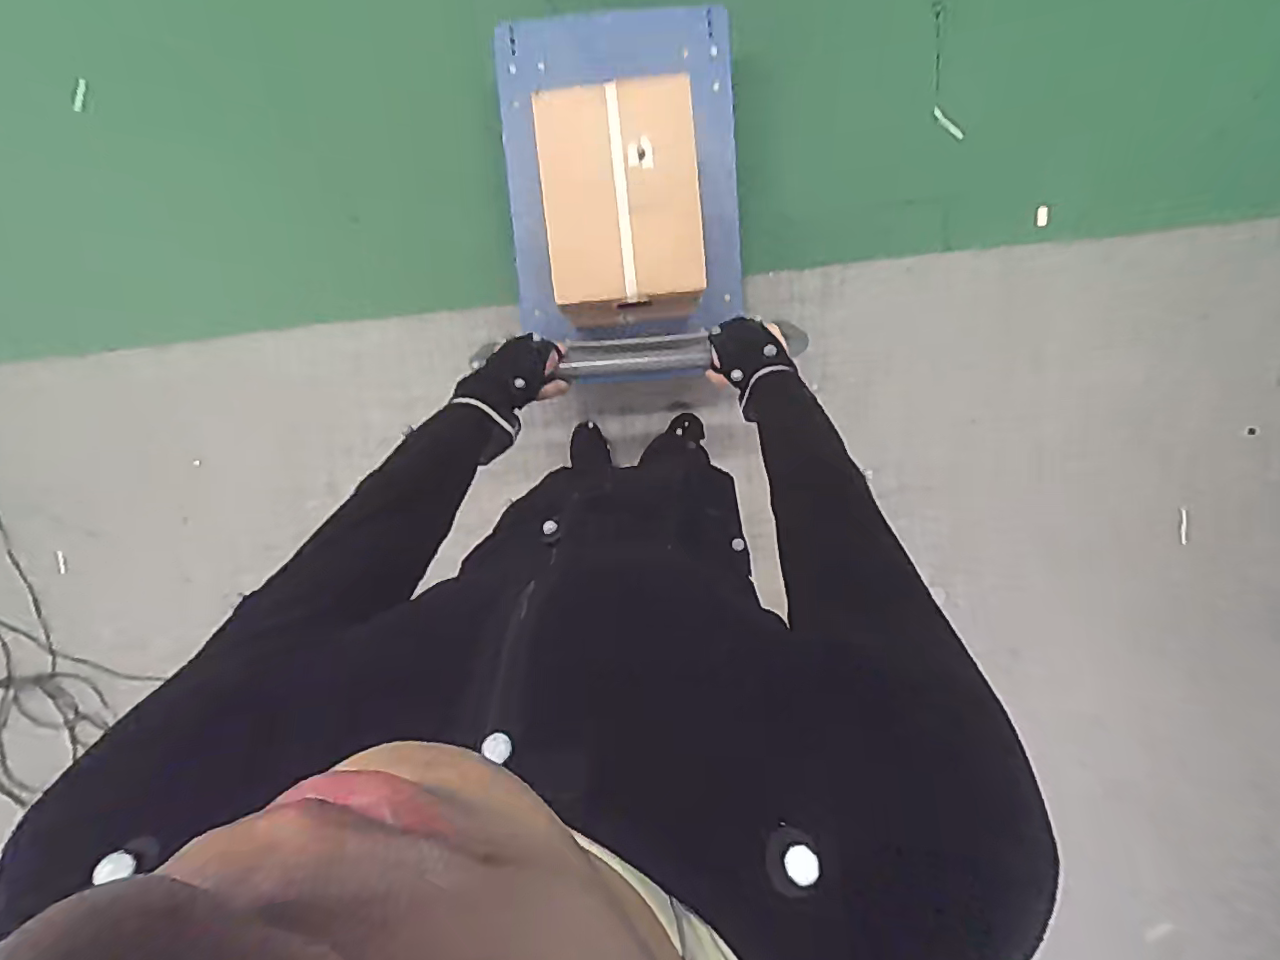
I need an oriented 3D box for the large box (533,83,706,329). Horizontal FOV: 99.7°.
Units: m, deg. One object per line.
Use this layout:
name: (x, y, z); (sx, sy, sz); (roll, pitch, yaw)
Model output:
large box: (-0.036, -0.585, 1.233); (0.320, 0.320, 0.408); (-6, 97, 1)
